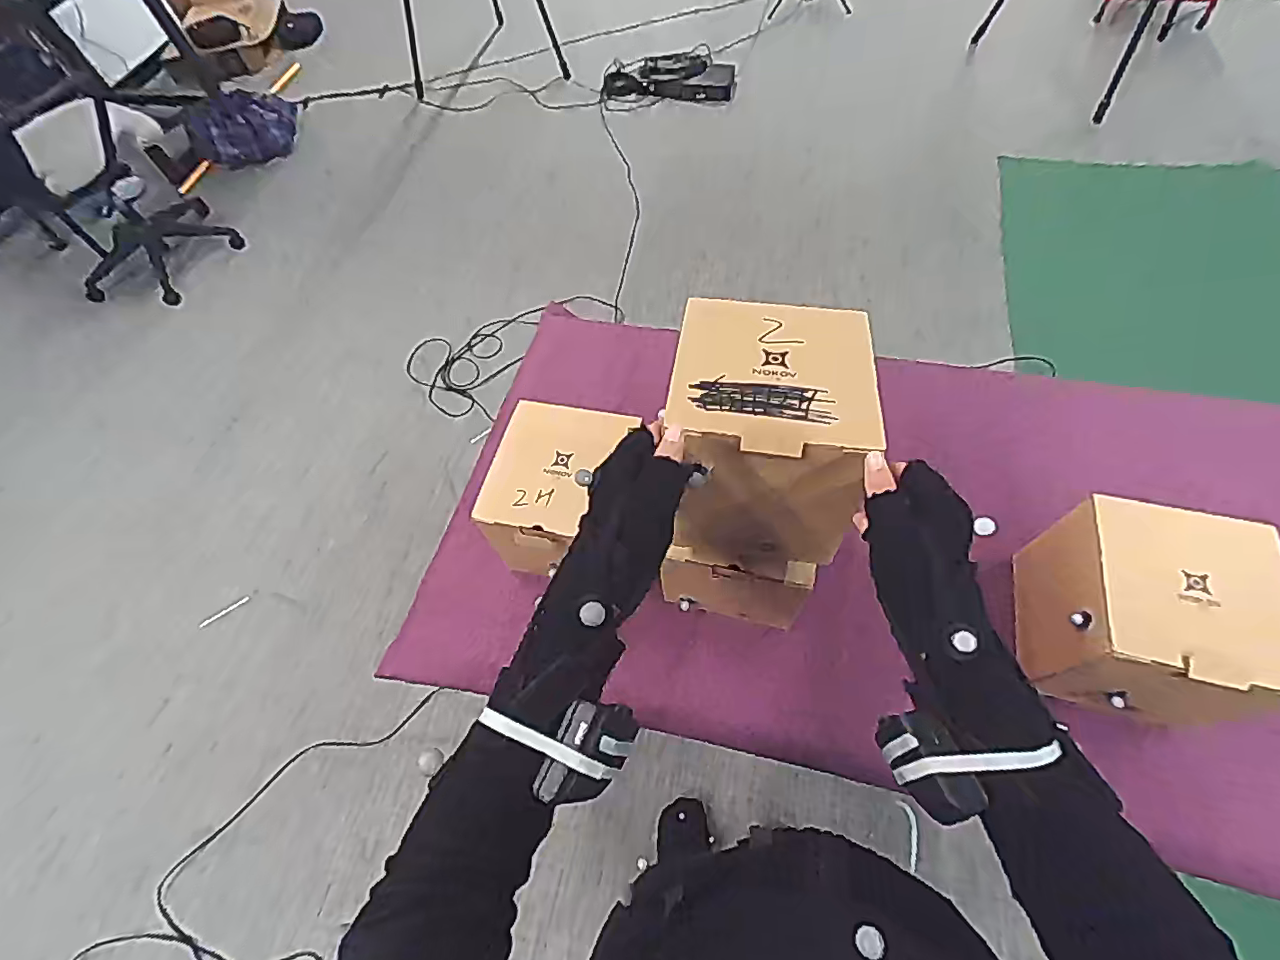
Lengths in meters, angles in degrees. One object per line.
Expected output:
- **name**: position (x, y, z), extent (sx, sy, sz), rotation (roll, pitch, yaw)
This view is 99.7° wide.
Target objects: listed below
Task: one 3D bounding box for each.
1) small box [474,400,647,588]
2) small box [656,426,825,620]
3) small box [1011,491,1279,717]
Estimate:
- **small box**: position (-0.089, 0.022, 0.718), extent (0.168, 0.176, 0.179), rotation (10, 62, 11)
- **small box**: position (0.124, 0.060, 0.678), extent (0.168, 0.176, 0.179), rotation (11, 62, 11)
- **small box**: position (0.536, 0.140, 0.592), extent (0.168, 0.176, 0.179), rotation (12, 62, 12)
